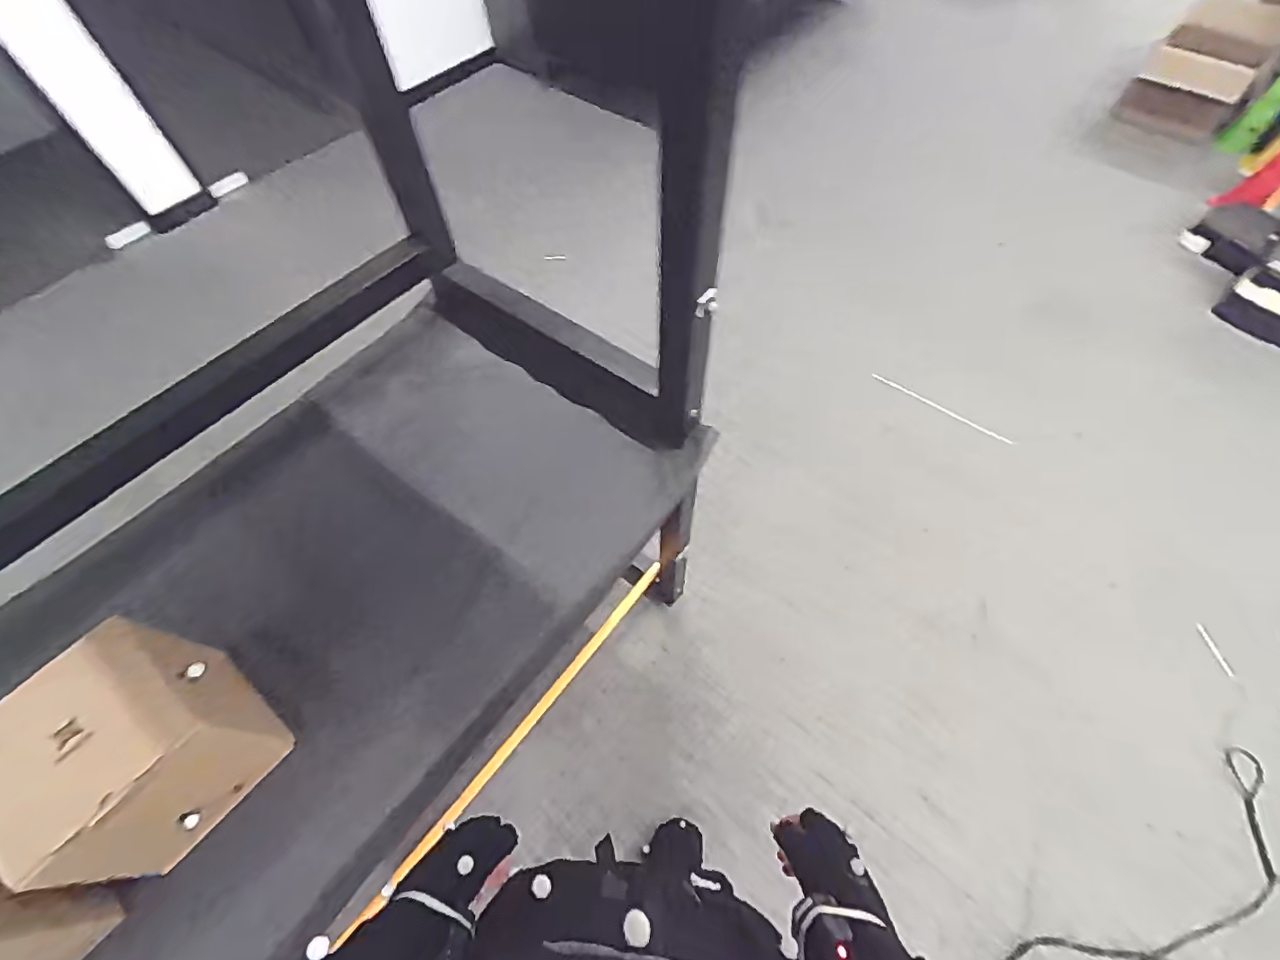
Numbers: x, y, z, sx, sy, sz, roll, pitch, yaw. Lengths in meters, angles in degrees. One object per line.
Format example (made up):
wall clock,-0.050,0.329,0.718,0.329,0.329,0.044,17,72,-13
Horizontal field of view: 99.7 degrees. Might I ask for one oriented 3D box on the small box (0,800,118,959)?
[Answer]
small box,-0.656,0.421,0.493,0.179,0.176,0.168,33,65,20
